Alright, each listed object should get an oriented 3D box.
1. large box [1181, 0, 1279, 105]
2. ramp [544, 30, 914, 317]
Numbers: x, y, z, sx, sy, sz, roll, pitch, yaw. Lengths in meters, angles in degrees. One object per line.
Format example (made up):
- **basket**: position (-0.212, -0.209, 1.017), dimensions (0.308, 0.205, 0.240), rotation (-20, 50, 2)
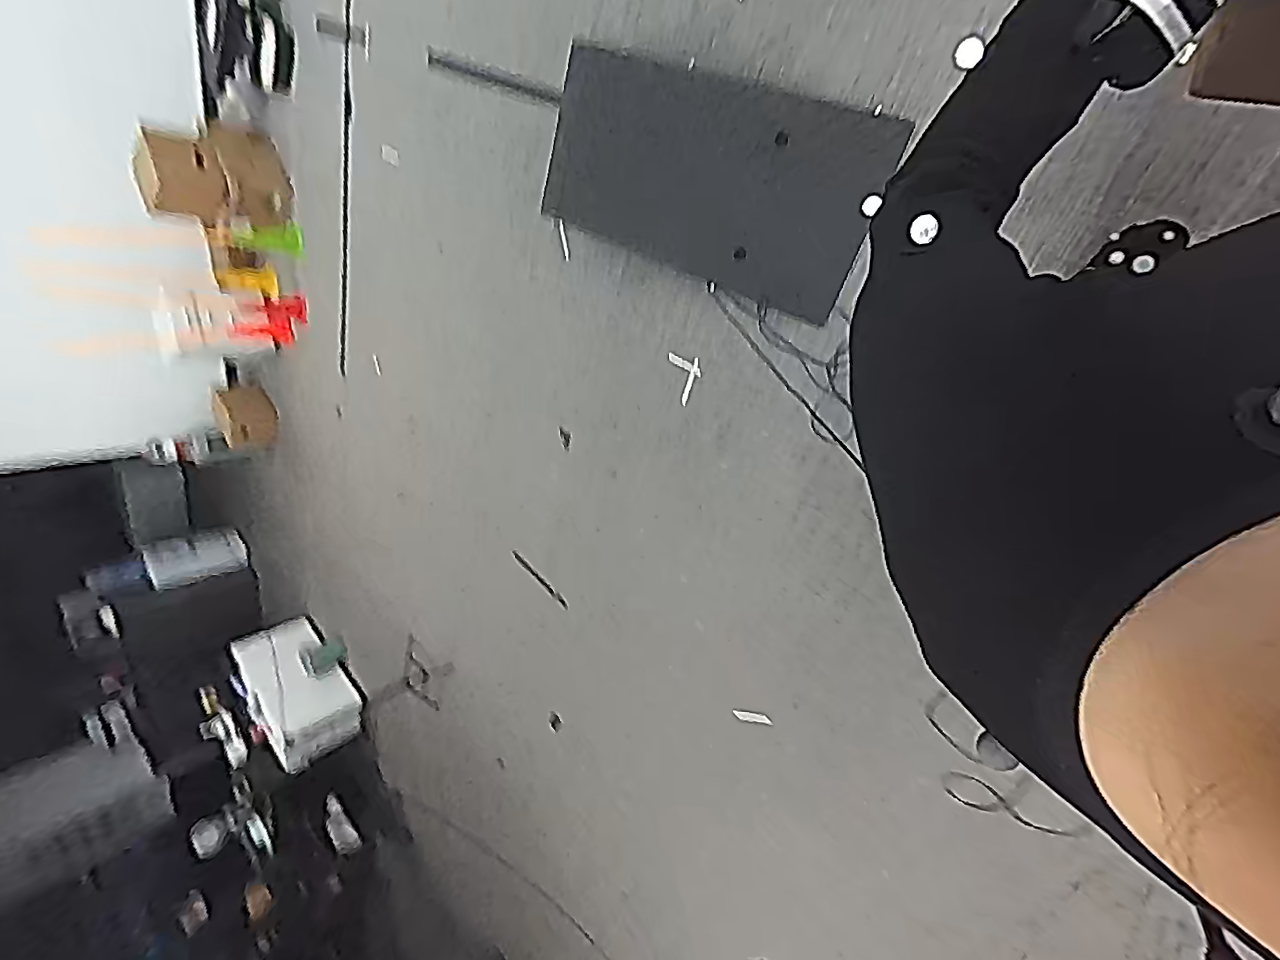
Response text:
- **large box**: position (0.599, -0.381, 0.245), dimensions (0.408, 0.320, 0.320), rotation (30, 124, 30)
- **ramp**: position (0.163, -0.873, 1.516), dimensions (0.991, 0.206, 0.509), rotation (34, 121, 28)
